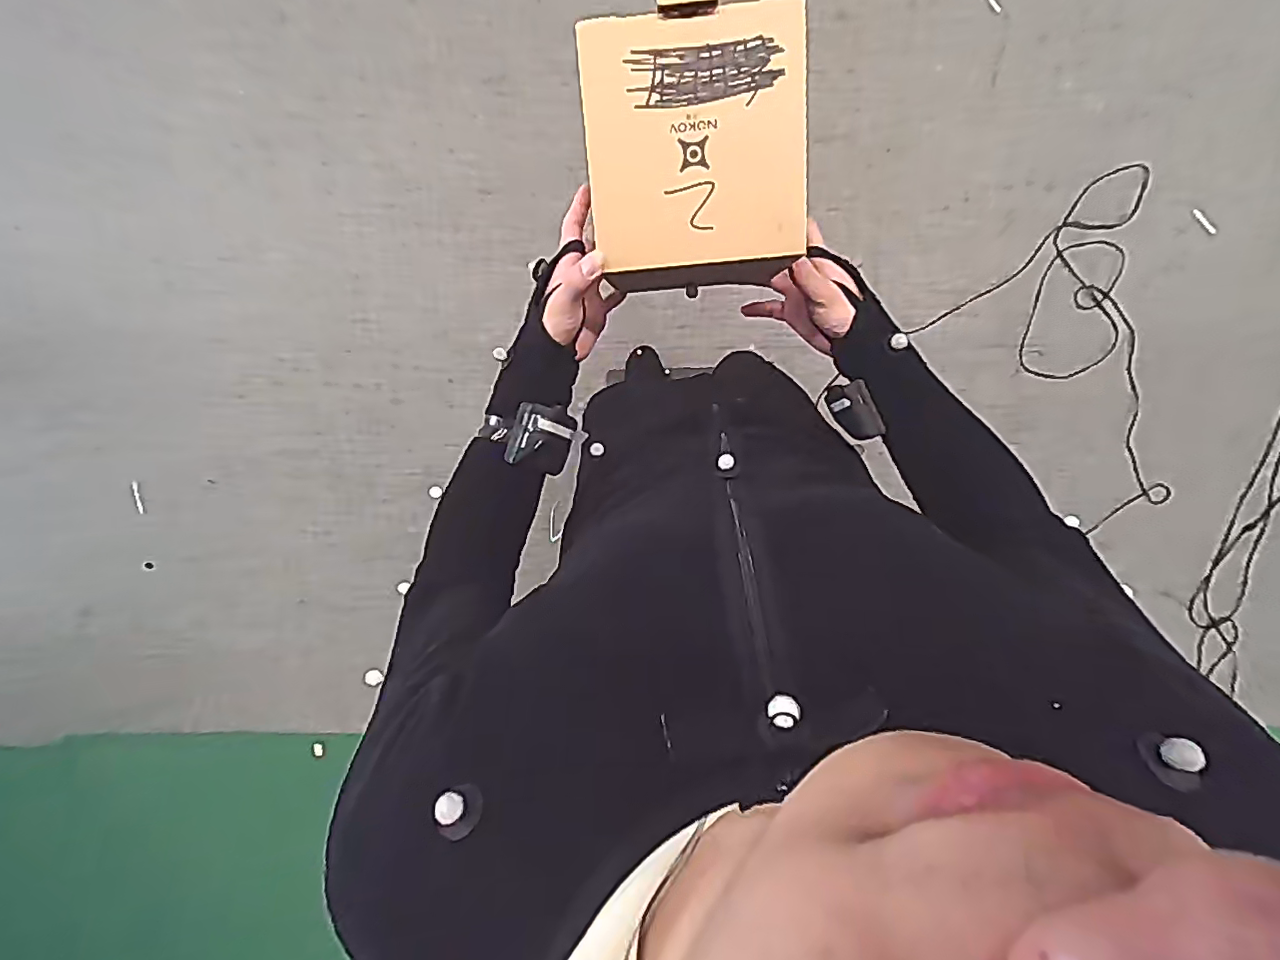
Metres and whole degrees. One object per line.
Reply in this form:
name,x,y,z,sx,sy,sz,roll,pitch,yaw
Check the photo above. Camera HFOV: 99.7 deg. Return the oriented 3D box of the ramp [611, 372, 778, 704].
ramp,0.166,0.185,1.623,0.509,0.206,0.991,-3,104,2
